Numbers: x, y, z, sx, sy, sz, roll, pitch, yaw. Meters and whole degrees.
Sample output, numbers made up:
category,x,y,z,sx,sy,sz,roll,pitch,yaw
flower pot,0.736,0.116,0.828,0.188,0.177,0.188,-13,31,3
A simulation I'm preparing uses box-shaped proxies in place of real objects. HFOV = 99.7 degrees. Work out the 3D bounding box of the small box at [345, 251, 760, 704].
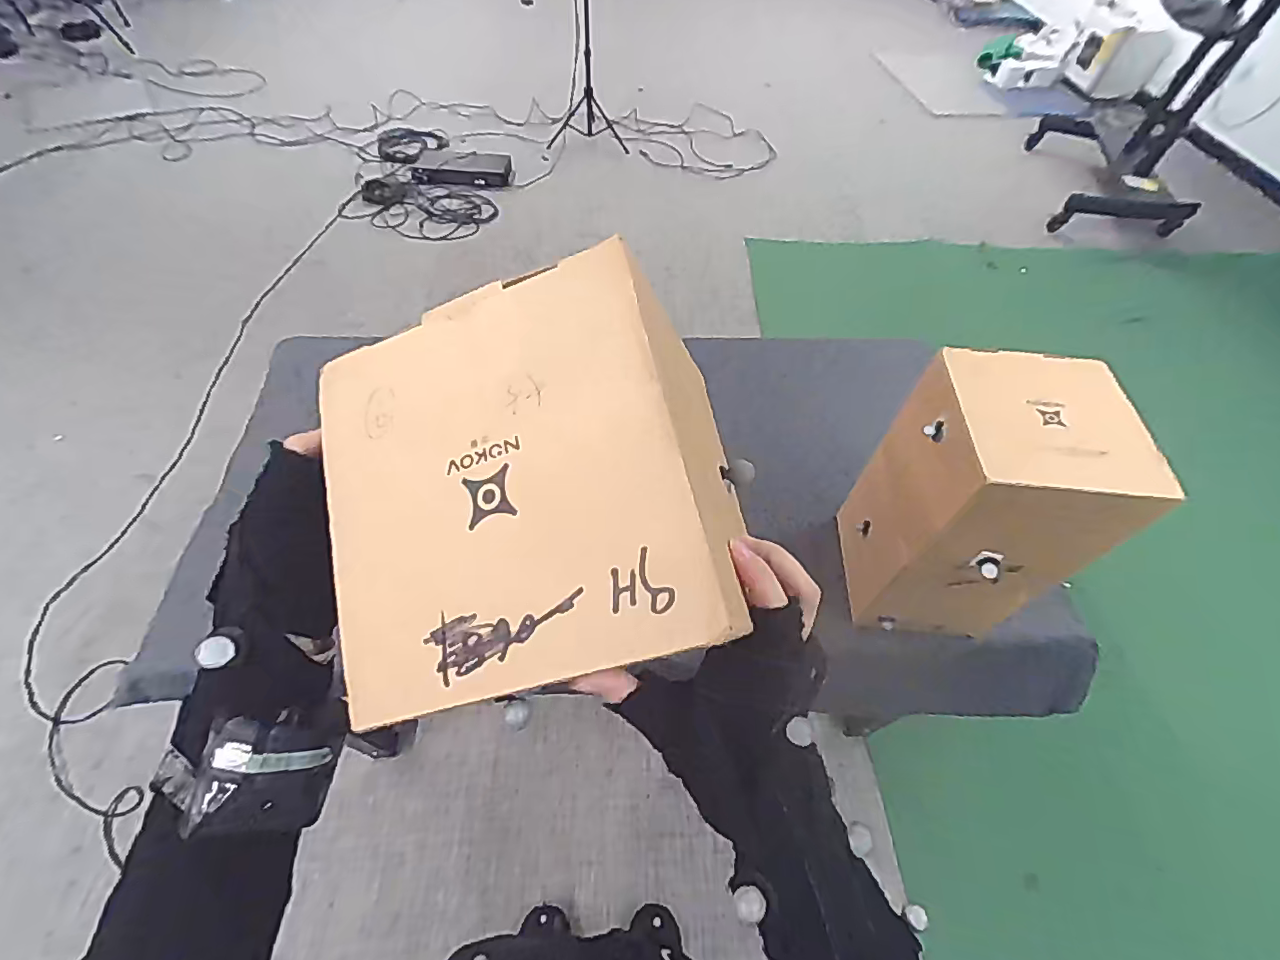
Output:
category,x,y,z,sx,sy,sz,roll,pitch,yaw
small box,-0.037,0.014,0.314,0.168,0.176,0.179,-17,73,14

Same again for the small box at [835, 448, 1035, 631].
category,x,y,z,sx,sy,sz,roll,pitch,yaw
small box,0.370,0.083,0.710,0.168,0.176,0.179,6,53,1

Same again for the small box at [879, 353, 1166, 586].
category,x,y,z,sx,sy,sz,roll,pitch,yaw
small box,0.374,-0.008,0.577,0.168,0.176,0.179,5,55,2
